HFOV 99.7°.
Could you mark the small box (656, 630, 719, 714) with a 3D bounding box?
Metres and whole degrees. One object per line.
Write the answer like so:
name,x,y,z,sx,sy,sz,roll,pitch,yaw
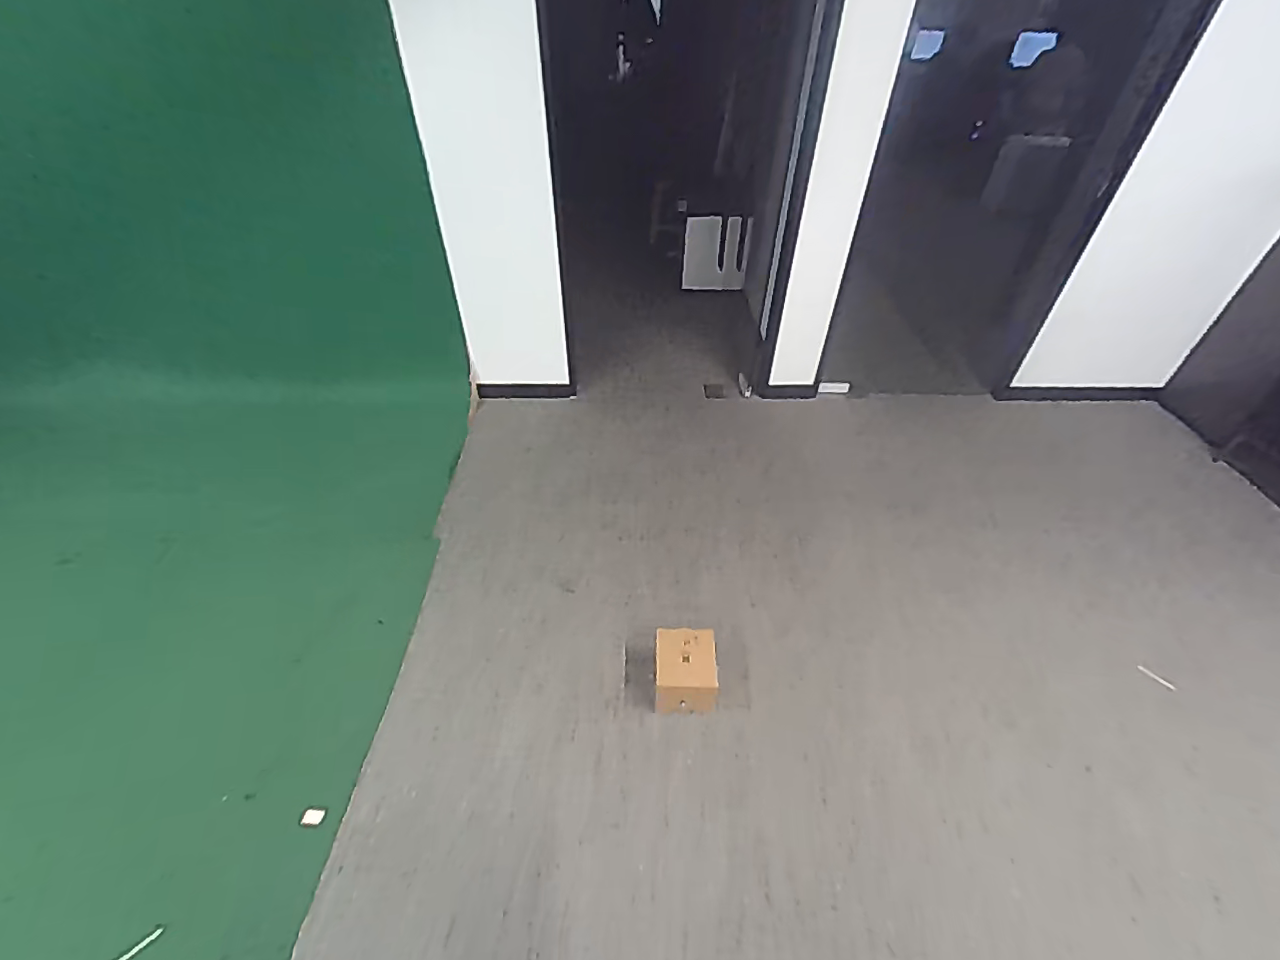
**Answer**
small box,0.131,0.547,1.535,0.168,0.176,0.179,1,43,0
